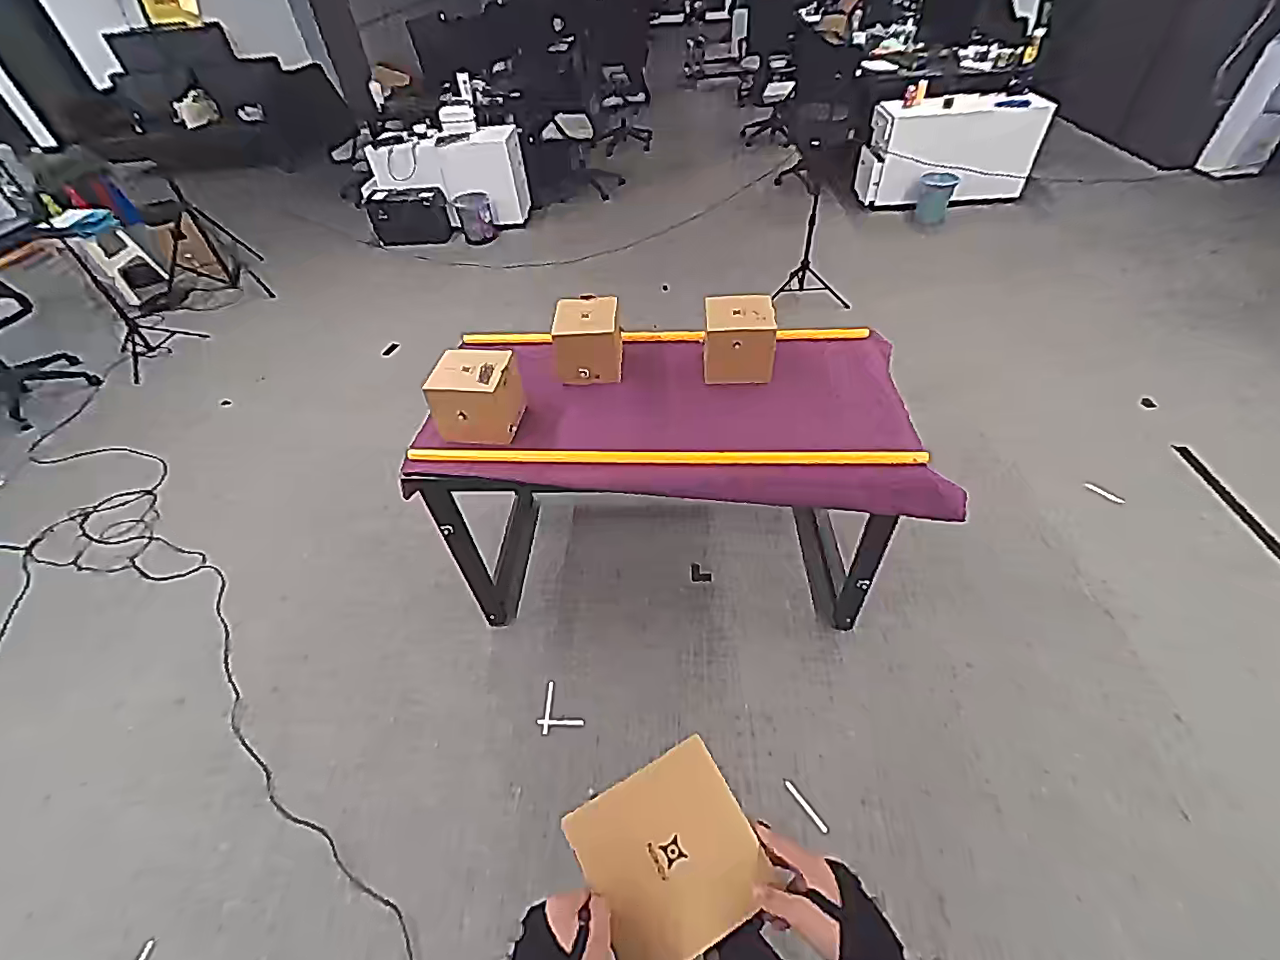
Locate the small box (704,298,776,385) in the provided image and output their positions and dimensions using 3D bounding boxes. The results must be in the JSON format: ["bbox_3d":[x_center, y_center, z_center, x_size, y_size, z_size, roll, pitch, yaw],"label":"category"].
[{"bbox_3d":[0.260,-0.366,1.444,0.179,0.176,0.168,0,48,5],"label":"small box"}]

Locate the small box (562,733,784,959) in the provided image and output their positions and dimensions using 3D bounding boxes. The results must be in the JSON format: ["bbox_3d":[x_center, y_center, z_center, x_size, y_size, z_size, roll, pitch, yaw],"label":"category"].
[{"bbox_3d":[0.034,0.421,0.618,0.179,0.176,0.168,-28,59,-12],"label":"small box"}]

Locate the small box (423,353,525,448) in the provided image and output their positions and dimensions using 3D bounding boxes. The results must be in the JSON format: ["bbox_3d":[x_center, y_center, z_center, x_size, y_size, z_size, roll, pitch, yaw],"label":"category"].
[{"bbox_3d":[-0.398,-0.195,1.336,0.179,0.176,0.168,3,47,7],"label":"small box"}]

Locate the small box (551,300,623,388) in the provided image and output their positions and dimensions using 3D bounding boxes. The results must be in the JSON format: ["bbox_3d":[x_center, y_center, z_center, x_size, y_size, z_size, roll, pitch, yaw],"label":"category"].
[{"bbox_3d":[-0.139,-0.373,1.488,0.168,0.176,0.179,-2,47,4],"label":"small box"}]
